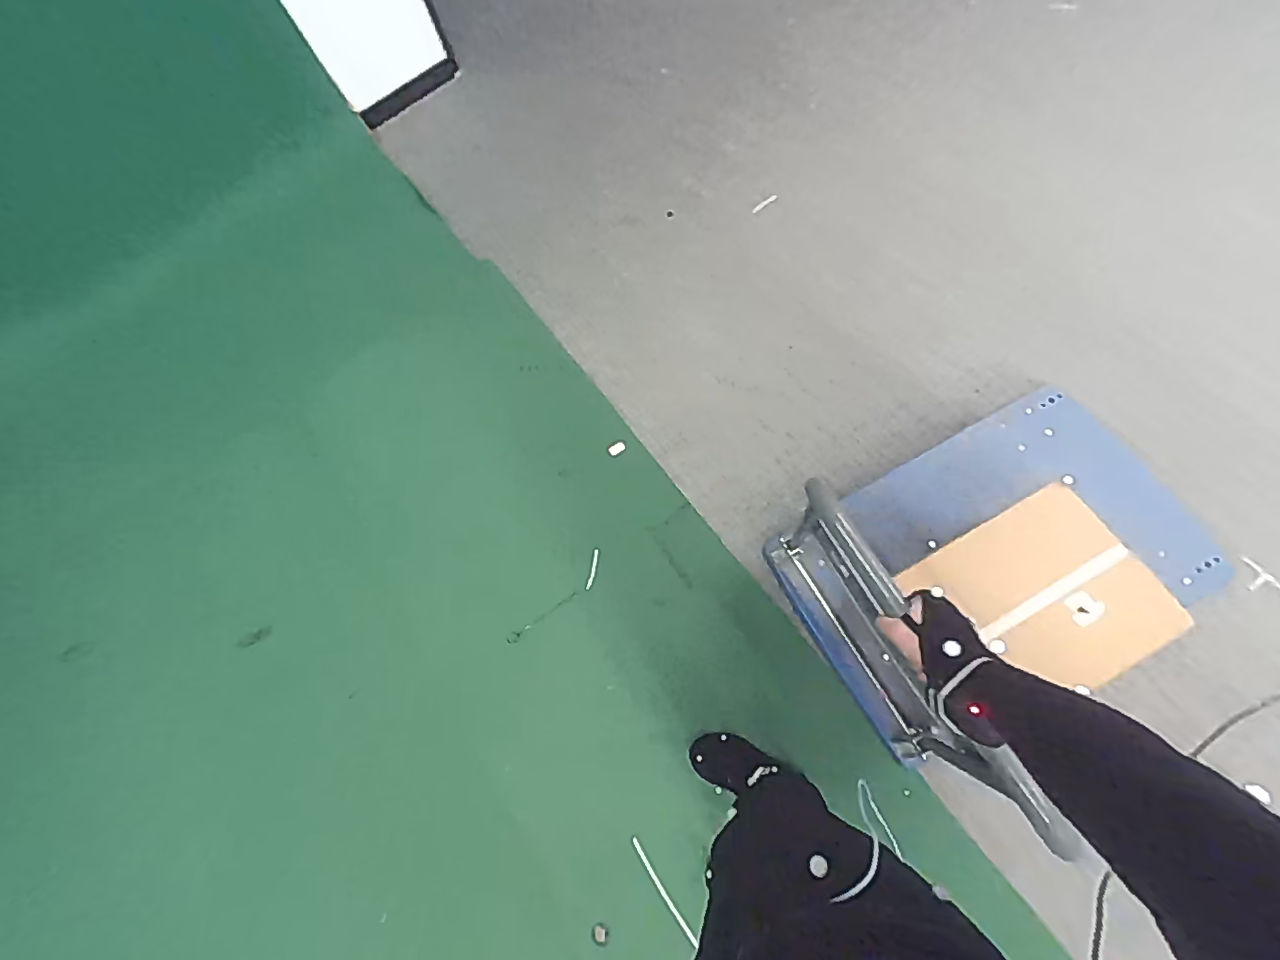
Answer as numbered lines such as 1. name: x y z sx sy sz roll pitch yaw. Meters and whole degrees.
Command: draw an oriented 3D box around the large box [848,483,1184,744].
1. large box: 0.713 0.275 1.106 0.408 0.320 0.320 -30 70 -3
